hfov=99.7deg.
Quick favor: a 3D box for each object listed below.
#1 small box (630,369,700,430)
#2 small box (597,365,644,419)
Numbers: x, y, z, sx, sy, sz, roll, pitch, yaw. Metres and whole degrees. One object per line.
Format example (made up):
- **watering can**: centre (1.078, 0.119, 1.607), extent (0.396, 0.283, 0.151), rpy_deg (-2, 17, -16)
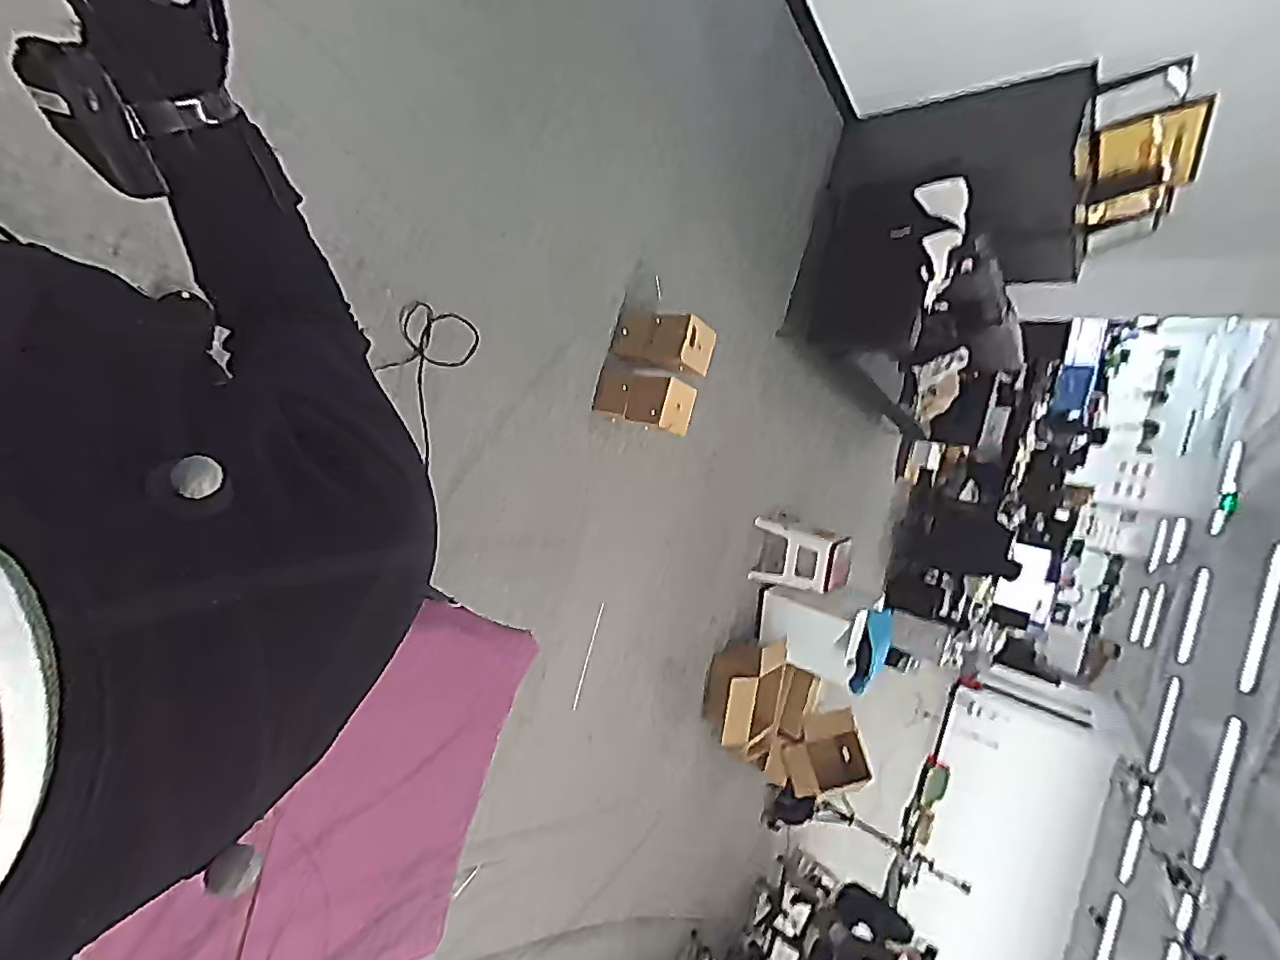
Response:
- **small box**: centre (0.087, -0.294, 1.953), extent (0.168, 0.176, 0.179), rpy_deg (13, 92, -49)
- **small box**: centre (-0.034, -0.334, 2.055), extent (0.179, 0.176, 0.168), rpy_deg (15, 90, -50)
